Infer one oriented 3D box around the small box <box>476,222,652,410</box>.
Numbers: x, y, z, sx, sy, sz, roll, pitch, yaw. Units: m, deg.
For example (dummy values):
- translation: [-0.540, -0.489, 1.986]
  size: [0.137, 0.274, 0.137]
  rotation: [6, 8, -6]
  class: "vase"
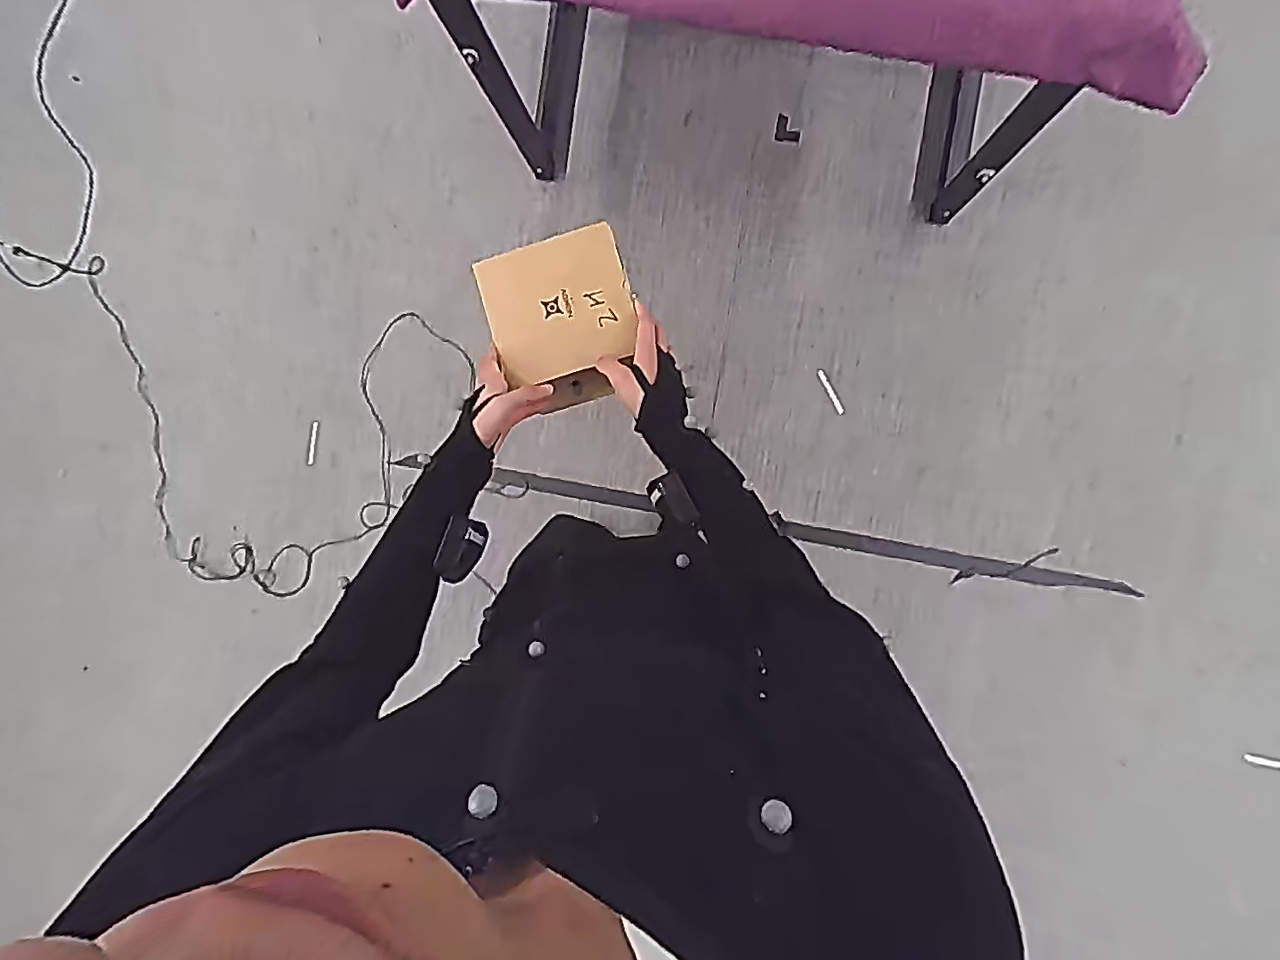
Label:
- translation: [-0.089, -0.202, 0.717]
  size: [0.179, 0.176, 0.168]
  rotation: [-16, 88, 2]
  class: "small box"
